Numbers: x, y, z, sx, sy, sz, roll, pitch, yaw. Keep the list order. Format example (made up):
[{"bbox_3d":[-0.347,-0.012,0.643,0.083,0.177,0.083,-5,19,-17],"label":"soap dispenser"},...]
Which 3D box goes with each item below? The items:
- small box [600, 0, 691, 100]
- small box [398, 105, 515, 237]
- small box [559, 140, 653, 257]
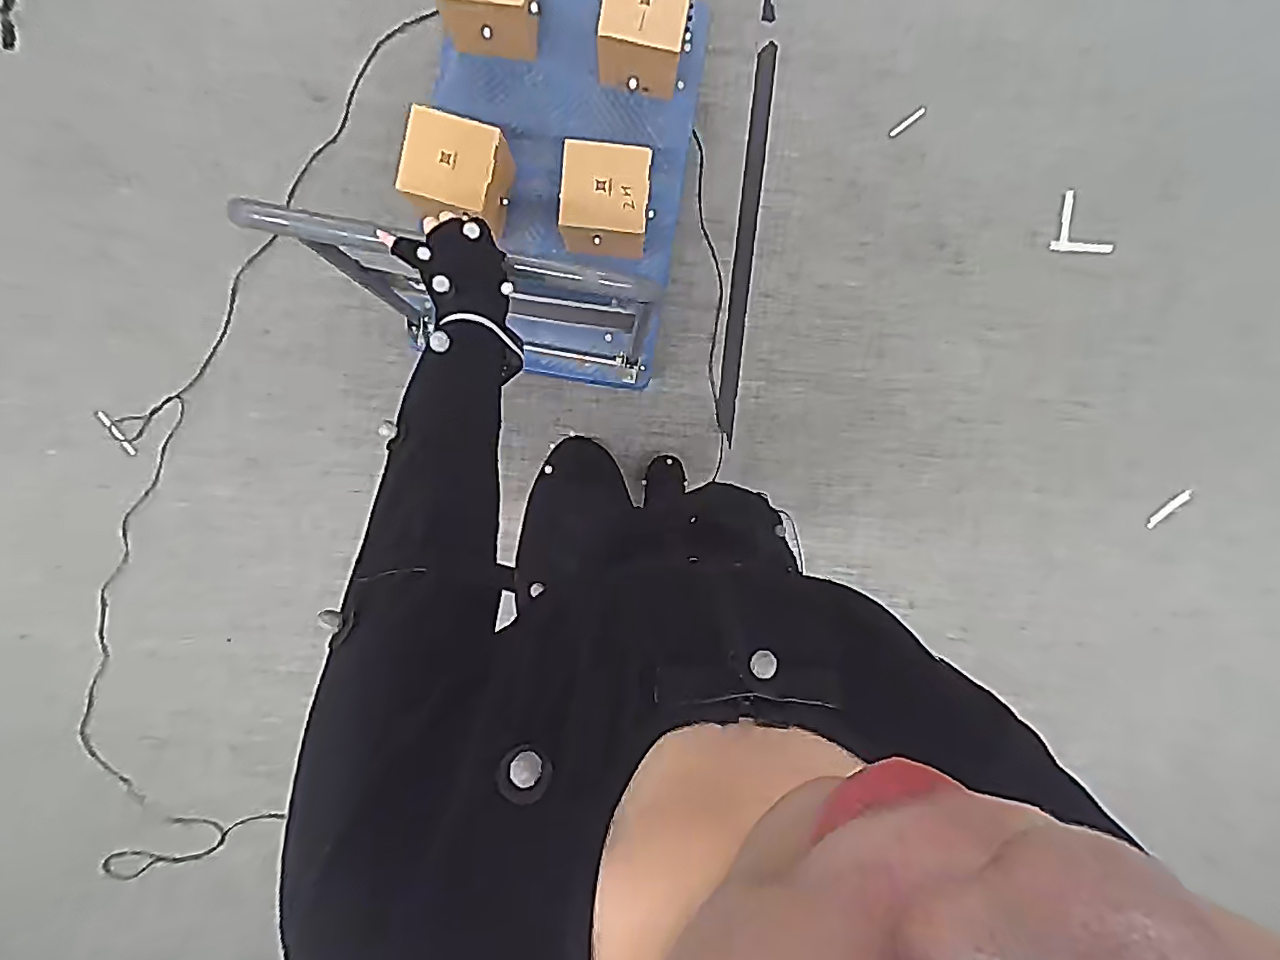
[{"bbox_3d":[0.012,-0.938,1.115,0.168,0.176,0.179,10,97,-3],"label":"small box"},{"bbox_3d":[-0.375,-0.633,1.134,0.179,0.176,0.168,13,95,-5],"label":"small box"},{"bbox_3d":[-0.069,-0.588,1.150,0.179,0.176,0.168,5,96,-2],"label":"small box"}]
